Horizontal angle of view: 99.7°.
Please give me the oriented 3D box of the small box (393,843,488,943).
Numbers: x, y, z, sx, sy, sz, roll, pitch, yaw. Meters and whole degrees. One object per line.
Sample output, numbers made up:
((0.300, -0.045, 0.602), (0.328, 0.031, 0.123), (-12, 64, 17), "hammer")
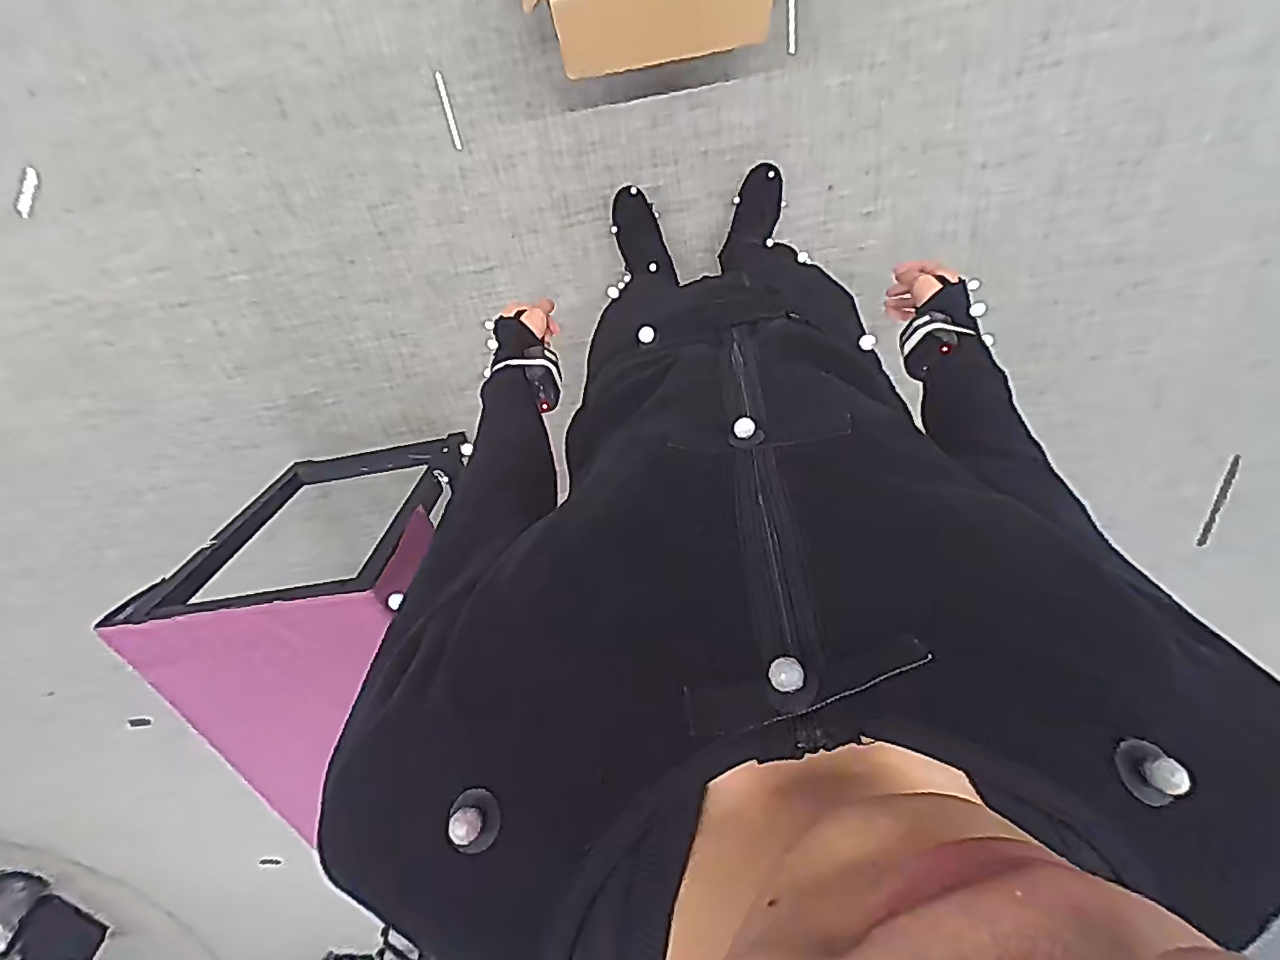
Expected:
((-0.555, 1.164, 1.529), (0.179, 0.176, 0.168), (-13, 121, 6), "small box")
